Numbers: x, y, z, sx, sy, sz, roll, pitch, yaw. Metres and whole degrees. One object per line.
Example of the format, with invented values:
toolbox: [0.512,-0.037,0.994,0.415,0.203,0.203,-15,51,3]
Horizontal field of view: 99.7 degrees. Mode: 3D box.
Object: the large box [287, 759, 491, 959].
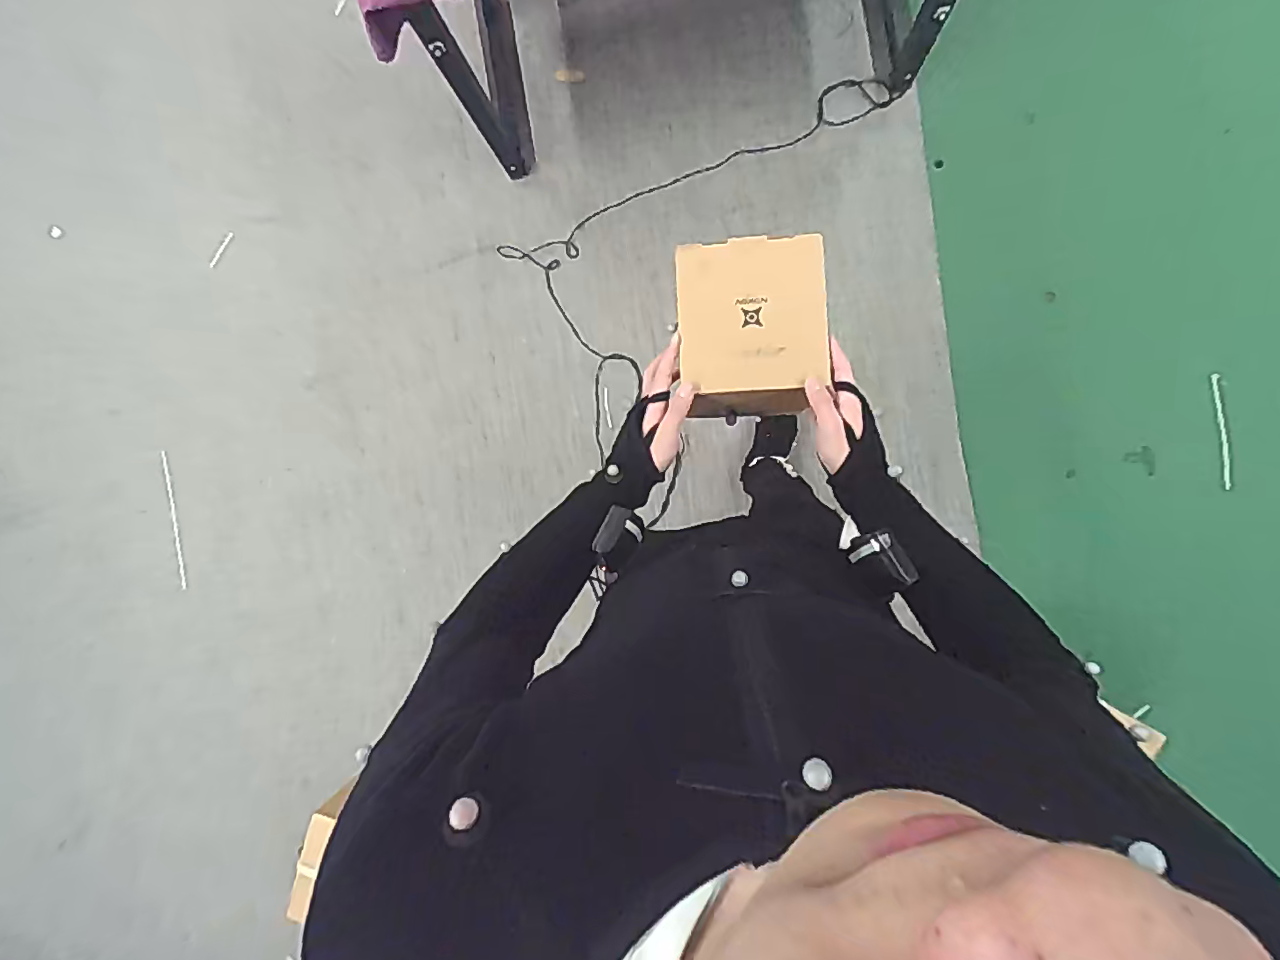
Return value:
large box: [-0.711,1.089,1.579,0.408,0.320,0.320,16,93,5]
